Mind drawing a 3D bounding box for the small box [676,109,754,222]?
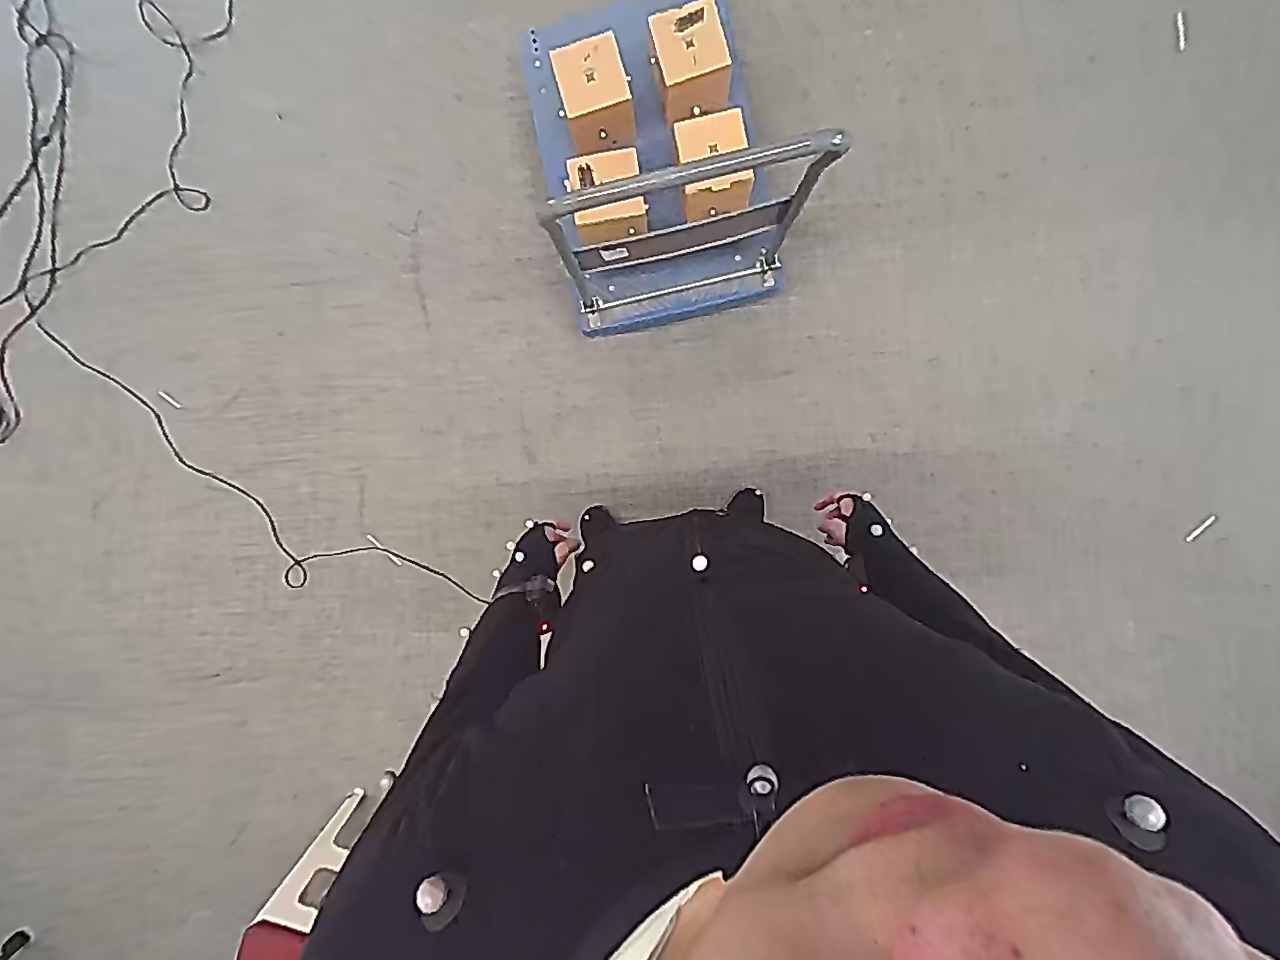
[{"bbox_3d":[0.186,-0.799,1.388,0.168,0.176,0.179,-11,90,4],"label":"small box"}]

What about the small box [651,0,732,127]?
[{"bbox_3d":[0.129,-1.063,1.390,0.168,0.176,0.179,-15,90,5],"label":"small box"}]

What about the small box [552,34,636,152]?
[{"bbox_3d":[-0.112,-0.993,1.410,0.168,0.176,0.179,-16,89,4],"label":"small box"}]
